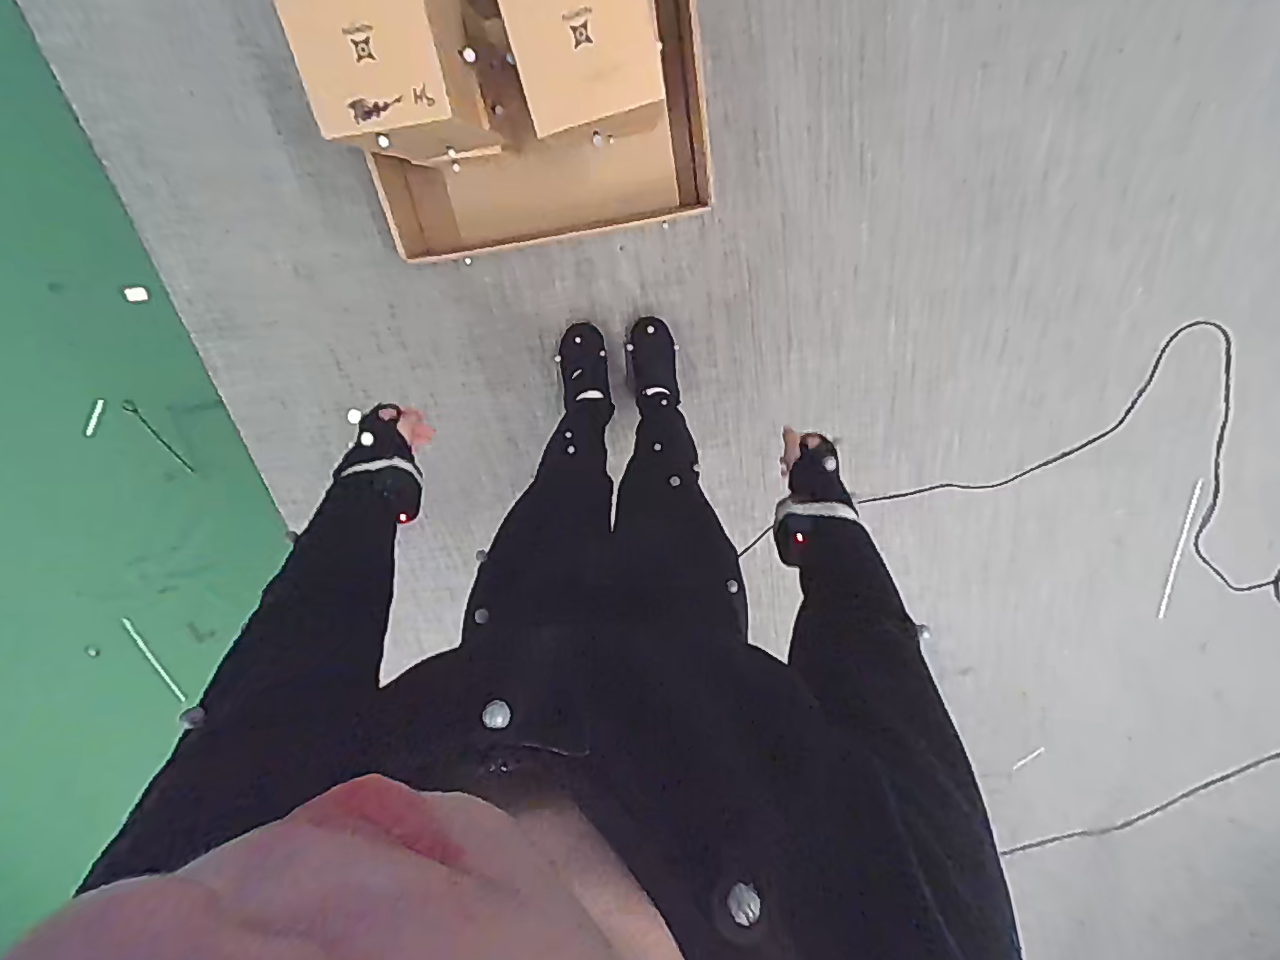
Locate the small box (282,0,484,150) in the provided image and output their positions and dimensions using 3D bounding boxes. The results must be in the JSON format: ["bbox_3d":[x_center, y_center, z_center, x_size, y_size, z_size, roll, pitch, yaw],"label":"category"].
[{"bbox_3d":[-0.314,-0.540,0.690,0.168,0.176,0.179,-6,116,3],"label":"small box"}]

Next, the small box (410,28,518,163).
[{"bbox_3d":[-0.330,-0.685,0.985,0.168,0.176,0.179,-6,117,1],"label":"small box"}]

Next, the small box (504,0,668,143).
[{"bbox_3d":[-0.065,-0.552,0.687,0.168,0.176,0.179,-12,118,7],"label":"small box"}]
